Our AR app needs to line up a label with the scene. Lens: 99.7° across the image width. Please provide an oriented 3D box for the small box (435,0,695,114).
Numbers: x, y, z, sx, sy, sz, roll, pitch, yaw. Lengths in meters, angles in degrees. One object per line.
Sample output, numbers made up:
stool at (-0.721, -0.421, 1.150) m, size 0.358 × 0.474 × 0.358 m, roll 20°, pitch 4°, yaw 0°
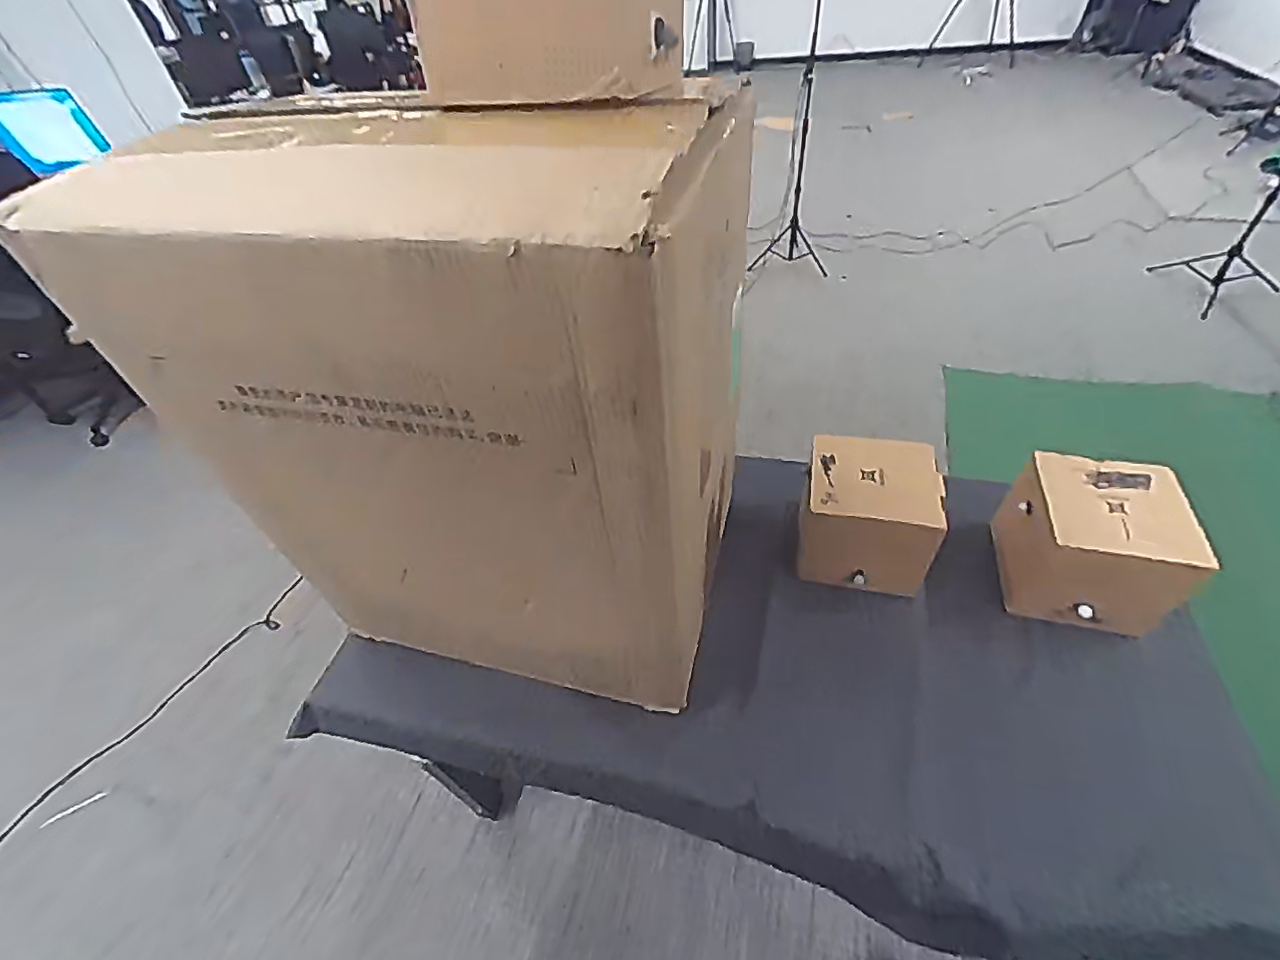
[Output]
small box at (-0.056, -0.405, 0.437) m, size 0.179 × 0.176 × 0.168 m, roll 10°, pitch 42°, yaw 14°

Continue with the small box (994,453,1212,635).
small box at (0.632, 0.089, 0.771) m, size 0.168 × 0.176 × 0.179 m, roll 9°, pitch 48°, yaw 16°
